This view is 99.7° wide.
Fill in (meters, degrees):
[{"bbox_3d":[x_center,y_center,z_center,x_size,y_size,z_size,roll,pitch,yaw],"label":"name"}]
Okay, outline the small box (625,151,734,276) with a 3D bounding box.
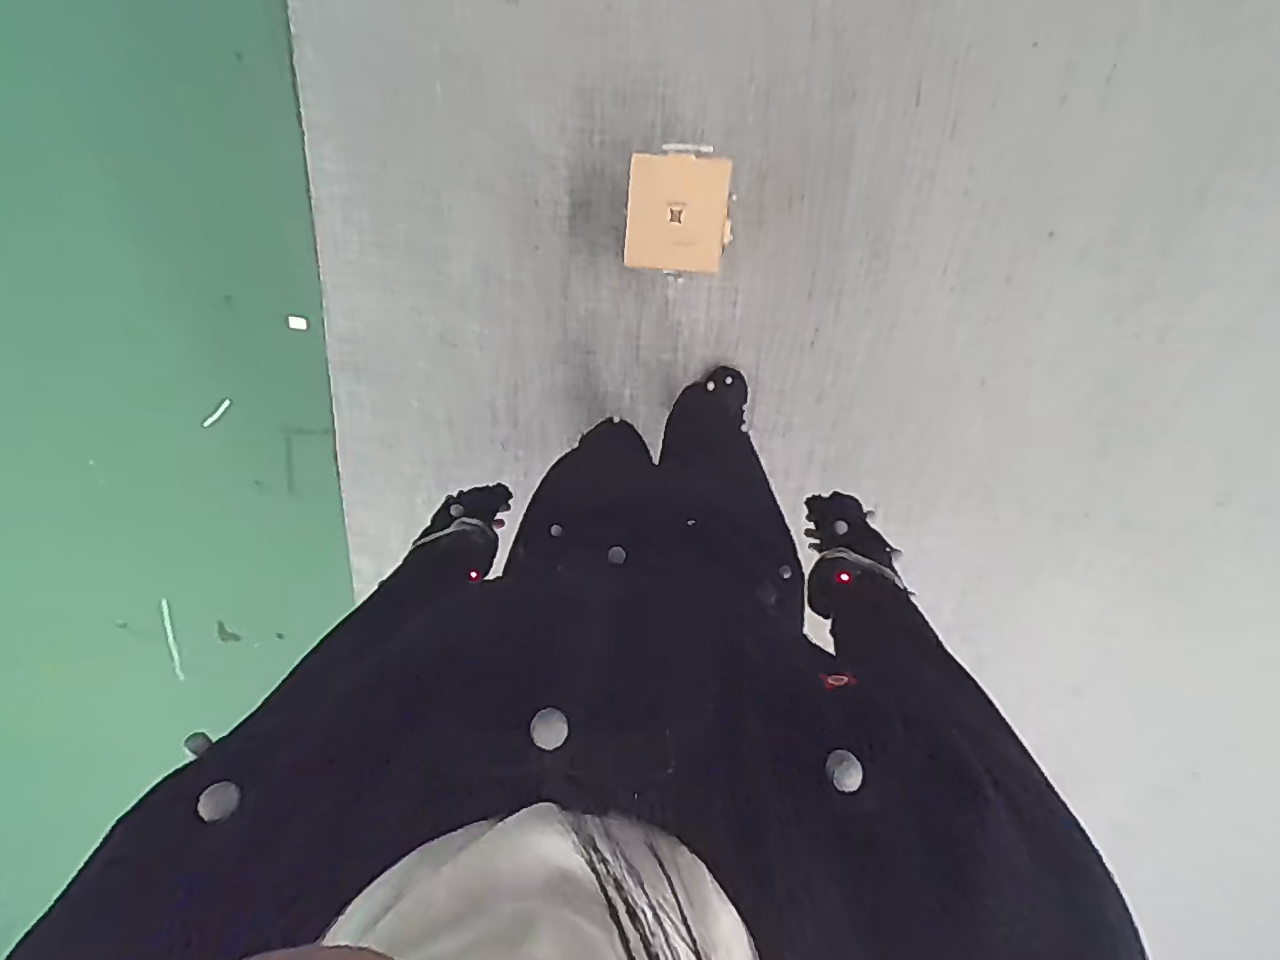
[{"bbox_3d":[0.075,-0.471,0.977,0.168,0.176,0.179,8,111,8],"label":"small box"}]
